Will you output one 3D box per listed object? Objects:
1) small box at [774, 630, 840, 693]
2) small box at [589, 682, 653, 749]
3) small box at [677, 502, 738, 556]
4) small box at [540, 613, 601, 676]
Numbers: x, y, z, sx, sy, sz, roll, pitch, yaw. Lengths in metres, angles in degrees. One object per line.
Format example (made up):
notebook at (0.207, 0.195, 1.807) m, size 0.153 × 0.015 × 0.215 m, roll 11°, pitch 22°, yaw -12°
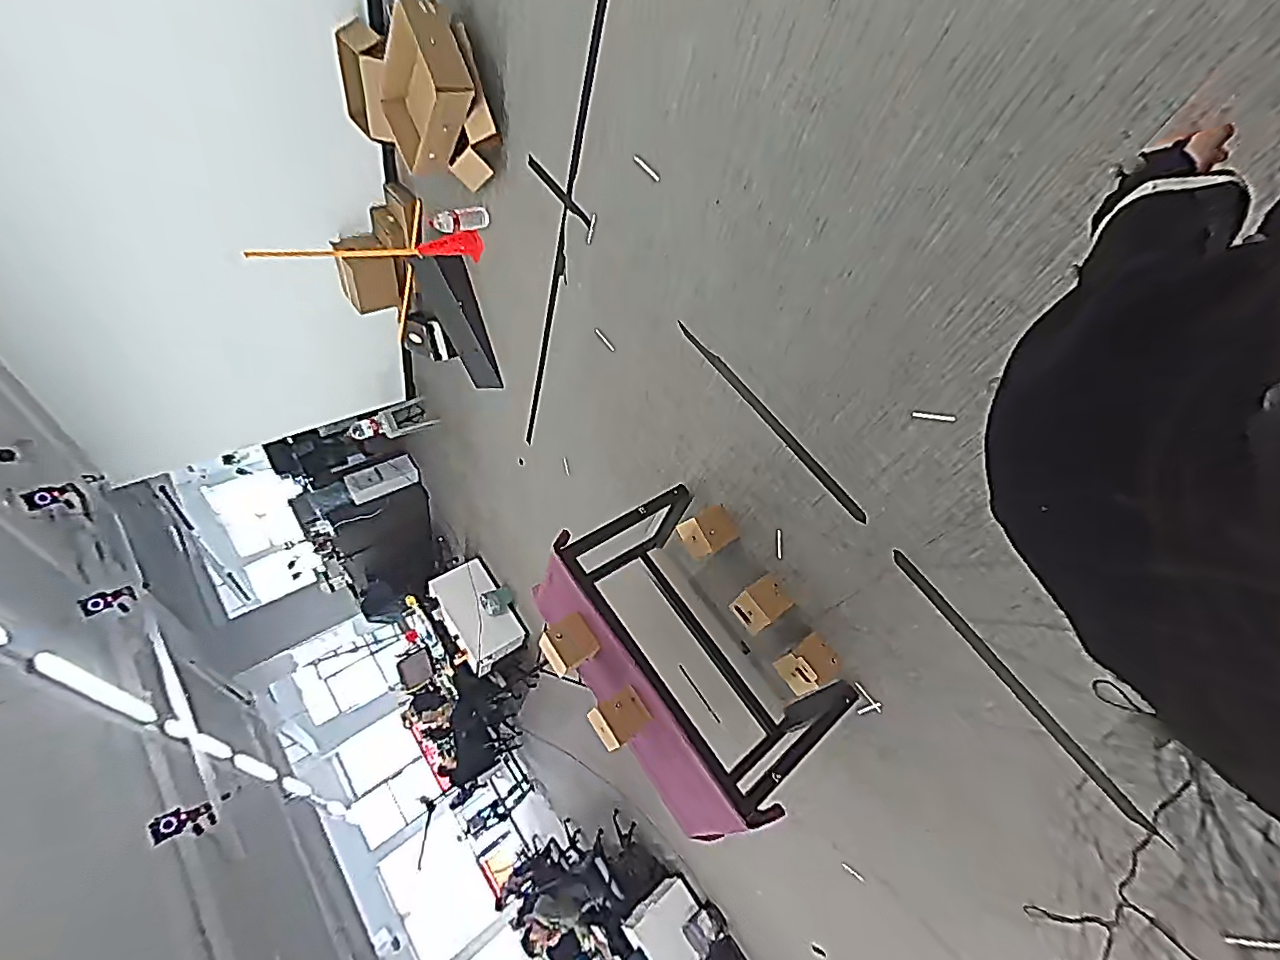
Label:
small box at (0.702, 0.753, 2.254) m, size 0.168 × 0.176 × 0.179 m, roll 52°, pitch 147°, yaw 17°
small box at (-0.073, 0.913, 2.102) m, size 0.168 × 0.176 × 0.179 m, roll 53°, pitch 149°, yaw 18°
small box at (0.305, 0.217, 2.435) m, size 0.179 × 0.176 × 0.168 m, roll 60°, pitch 147°, yaw 3°
small box at (-0.289, 0.671, 2.231) m, size 0.179 × 0.176 × 0.168 m, roll 52°, pitch 147°, yaw 16°
